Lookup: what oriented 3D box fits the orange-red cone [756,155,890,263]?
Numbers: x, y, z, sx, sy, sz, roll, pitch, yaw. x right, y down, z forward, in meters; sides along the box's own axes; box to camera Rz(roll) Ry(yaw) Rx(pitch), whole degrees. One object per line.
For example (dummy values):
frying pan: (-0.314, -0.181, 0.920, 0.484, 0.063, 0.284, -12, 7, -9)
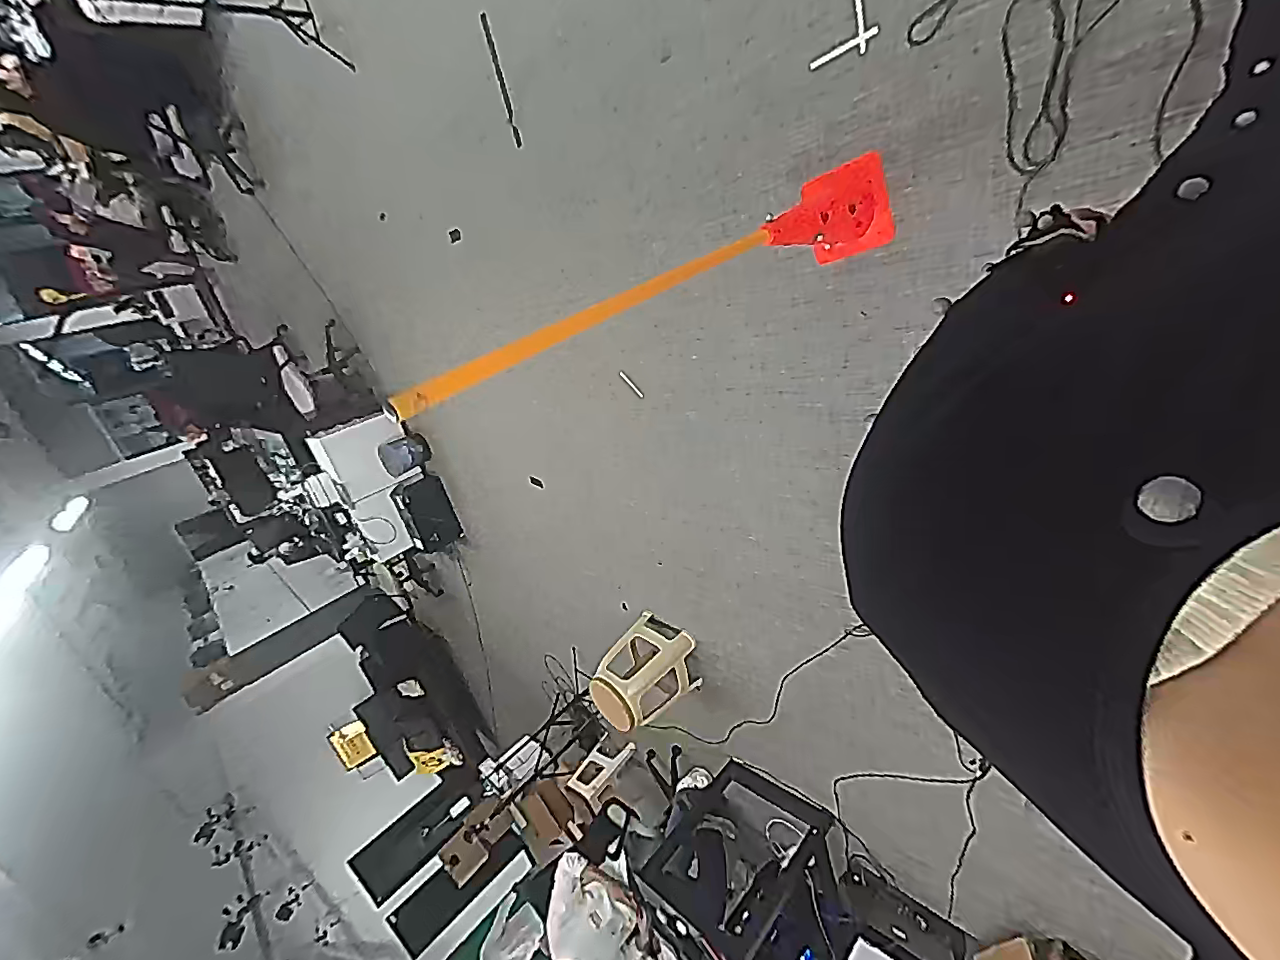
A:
orange-red cone: (0.367, -0.561, 1.181, 0.199, 0.360, 0.198, 0, 116, 48)
